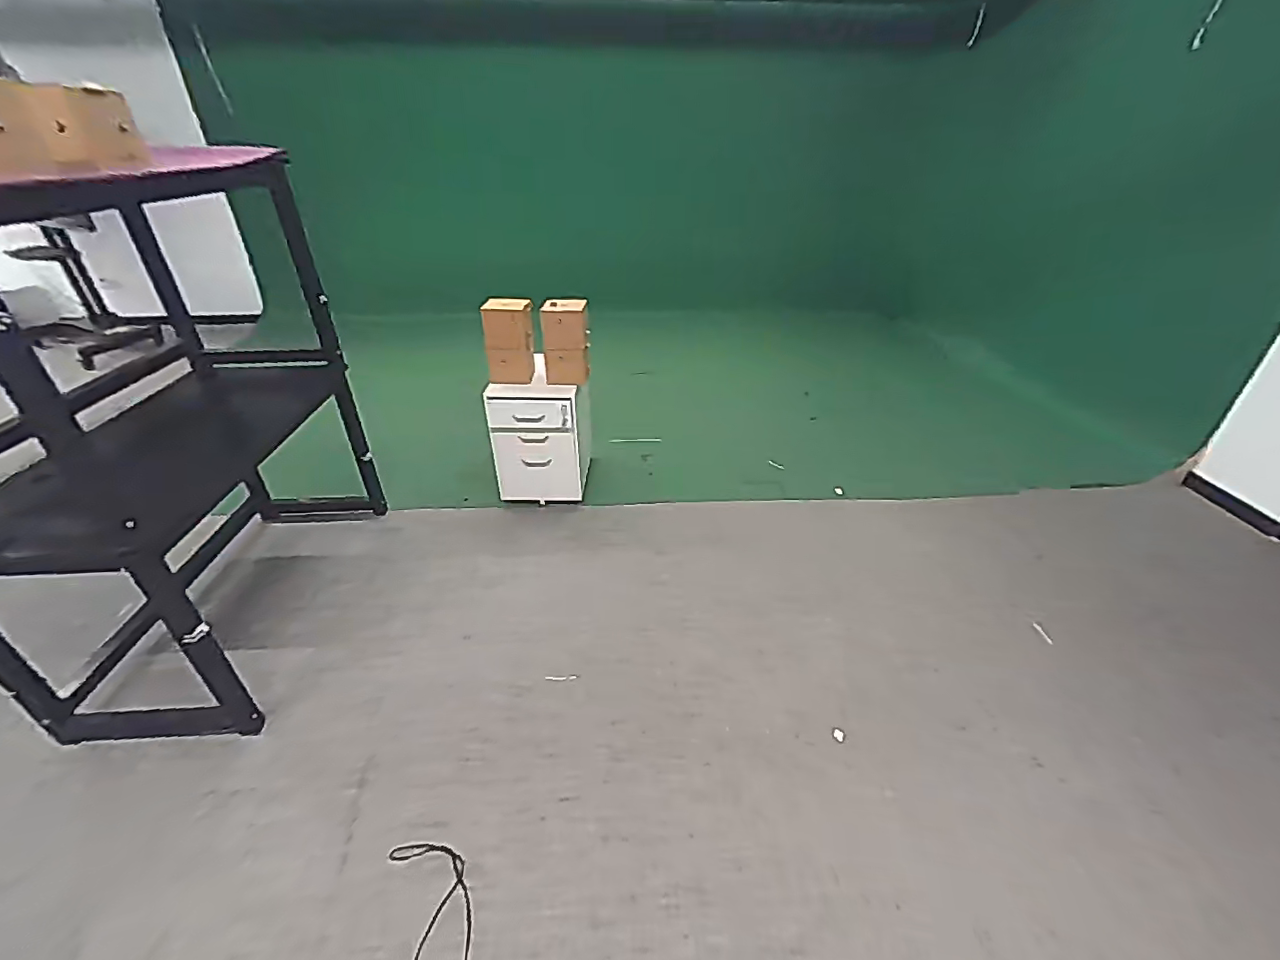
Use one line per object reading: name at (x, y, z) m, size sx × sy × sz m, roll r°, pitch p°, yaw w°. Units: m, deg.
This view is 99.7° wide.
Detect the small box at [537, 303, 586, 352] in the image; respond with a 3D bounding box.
small box at (-0.332, -0.655, 2.319) m, size 0.179 × 0.176 × 0.168 m, roll 1°, pitch 33°, yaw 3°

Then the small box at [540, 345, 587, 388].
small box at (-0.337, -0.519, 2.412) m, size 0.179 × 0.176 × 0.168 m, roll 1°, pitch 33°, yaw 3°

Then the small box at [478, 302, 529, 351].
small box at (-0.585, -0.664, 2.339) m, size 0.179 × 0.176 × 0.168 m, roll 3°, pitch 32°, yaw 0°

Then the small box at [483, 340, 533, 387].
small box at (-0.587, -0.525, 2.425) m, size 0.179 × 0.176 × 0.168 m, roll 1°, pitch 33°, yaw 0°

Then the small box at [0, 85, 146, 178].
small box at (-1.321, -0.805, 1.255) m, size 0.179 × 0.176 × 0.168 m, roll -1°, pitch 31°, yaw -1°
